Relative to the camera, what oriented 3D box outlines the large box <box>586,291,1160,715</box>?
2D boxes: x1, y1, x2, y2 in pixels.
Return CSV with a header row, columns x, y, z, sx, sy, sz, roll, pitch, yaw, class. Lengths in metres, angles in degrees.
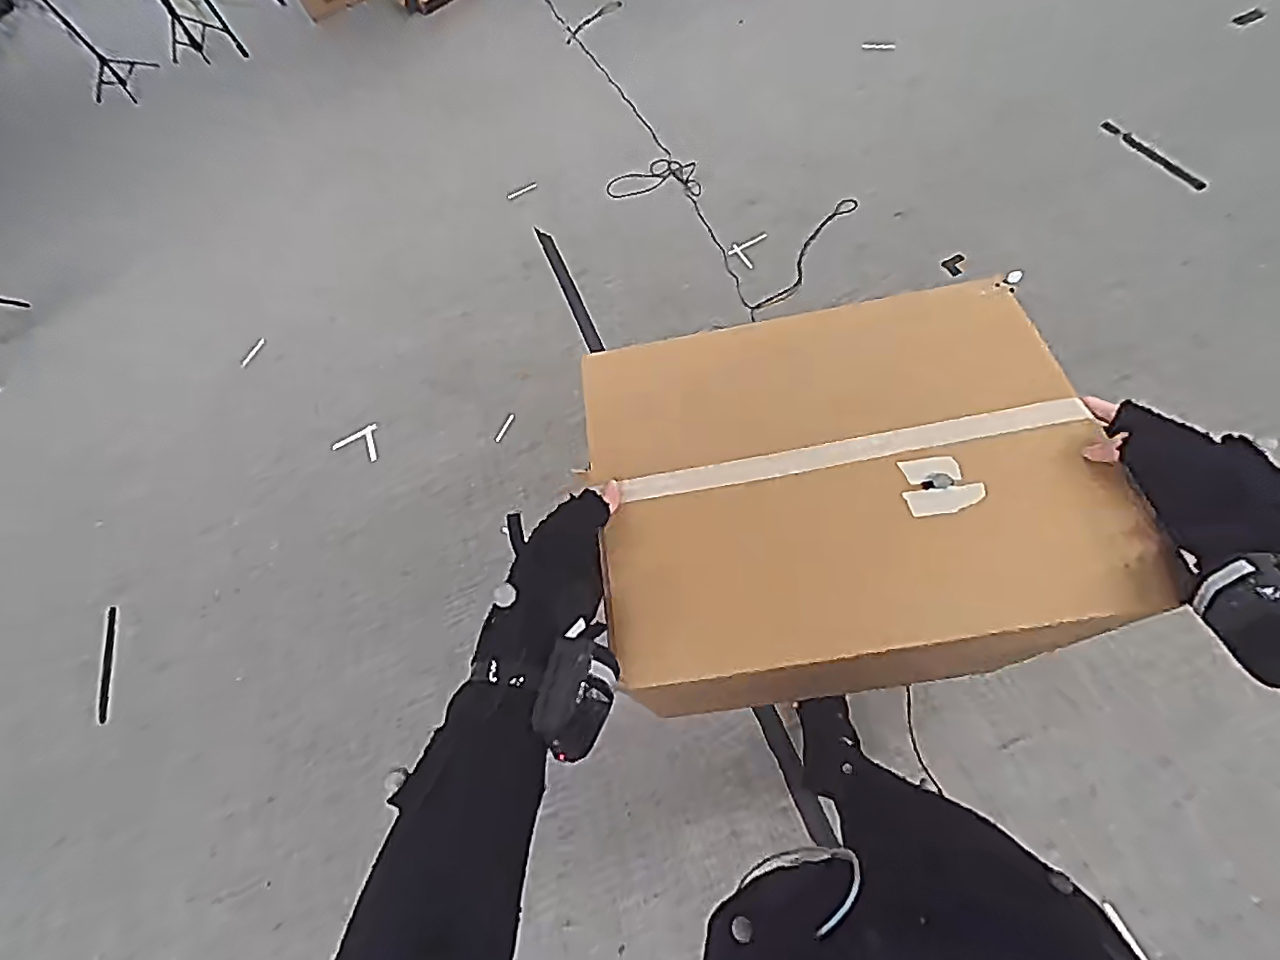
x,y,z,sx,sy,sz,roll,pitch,yaw,class
0.177,0.051,0.596,0.408,0.320,0.320,-10,62,2,large box
